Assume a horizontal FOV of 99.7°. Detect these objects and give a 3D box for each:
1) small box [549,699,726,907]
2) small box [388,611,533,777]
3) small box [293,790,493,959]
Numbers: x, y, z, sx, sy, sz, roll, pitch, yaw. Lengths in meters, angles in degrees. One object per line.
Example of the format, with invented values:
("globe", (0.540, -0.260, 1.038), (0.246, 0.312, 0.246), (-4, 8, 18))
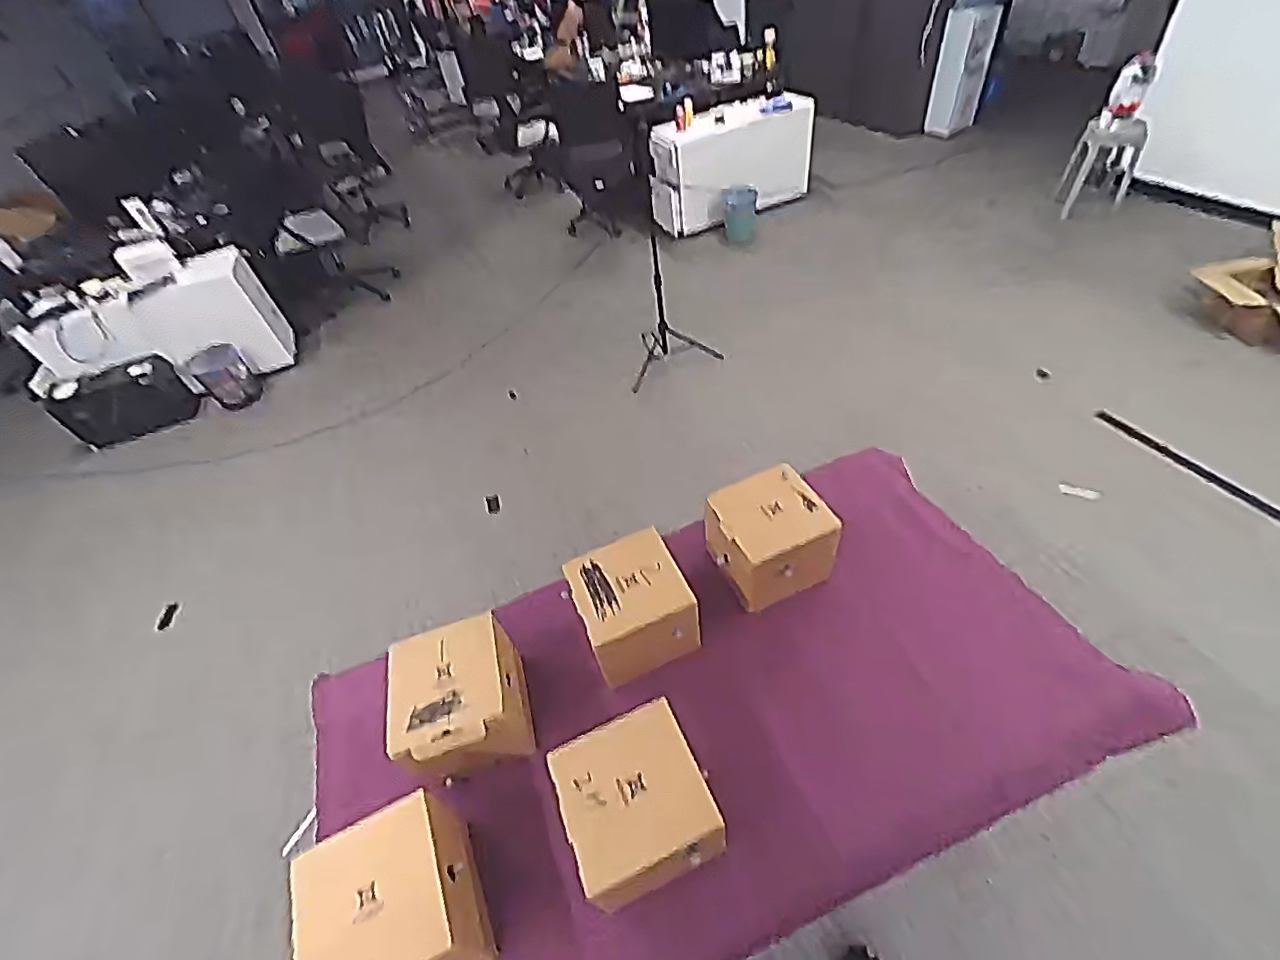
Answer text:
("small box", (-0.001, 0.430, 0.721), (0.179, 0.176, 0.168), (-22, 48, -10))
("small box", (-0.277, 0.343, 0.852), (0.168, 0.176, 0.179), (-18, 47, -7))
("small box", (-0.302, 0.534, 0.675), (0.168, 0.176, 0.179), (-24, 48, -15))
